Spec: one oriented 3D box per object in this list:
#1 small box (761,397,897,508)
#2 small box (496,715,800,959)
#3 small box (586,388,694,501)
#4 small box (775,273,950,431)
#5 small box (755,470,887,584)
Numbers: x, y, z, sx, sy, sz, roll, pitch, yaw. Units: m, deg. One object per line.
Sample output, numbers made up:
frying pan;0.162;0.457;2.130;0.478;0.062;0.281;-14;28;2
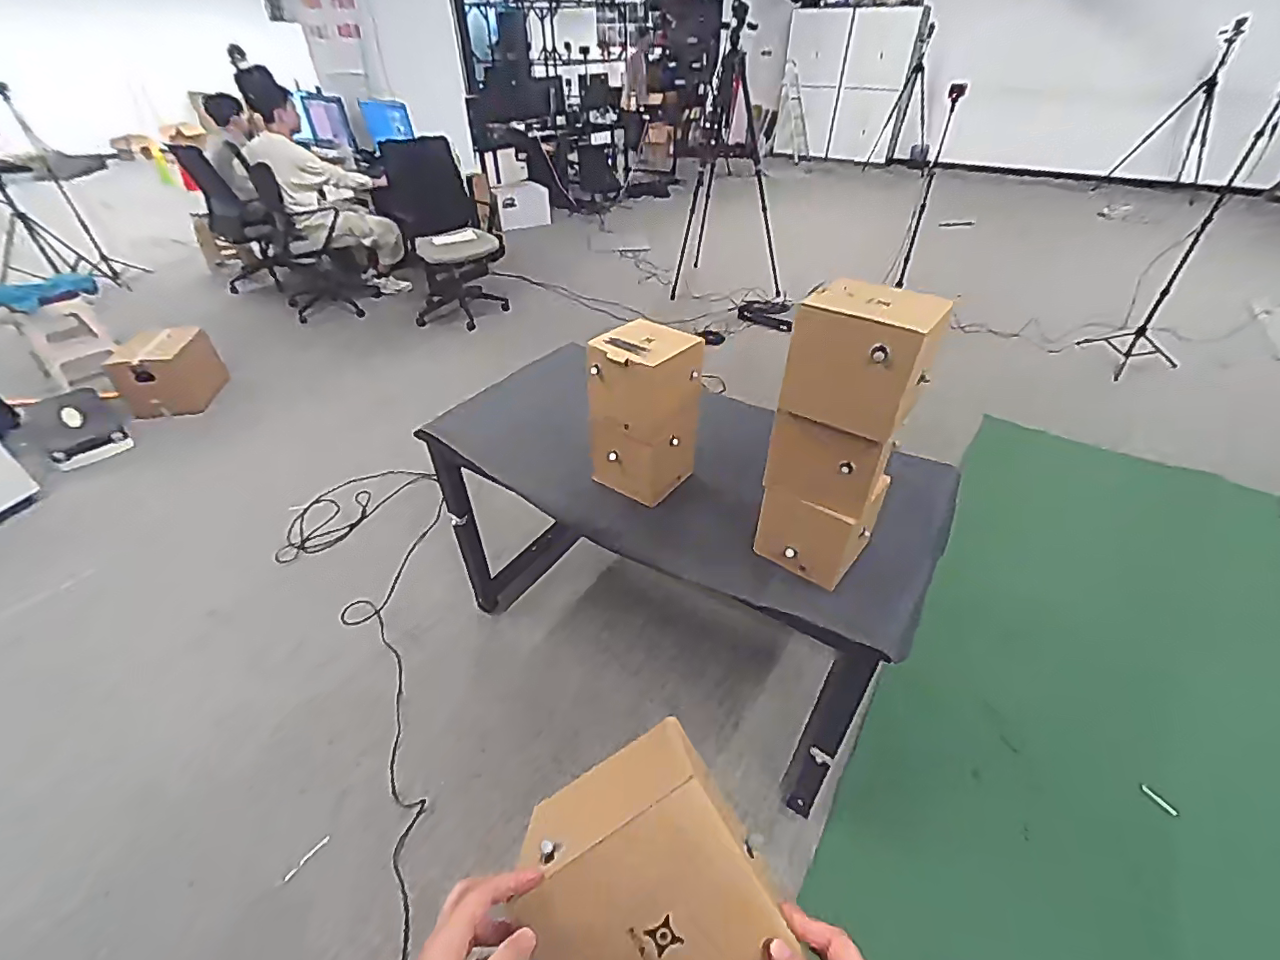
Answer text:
small box;0.325;-0.074;0.927;0.179;0.176;0.168;20;39;26
small box;0.003;0.343;0.480;0.179;0.176;0.168;-32;84;-6
small box;0.000;-0.079;1.203;0.179;0.176;0.168;24;44;28
small box;0.325;-0.191;0.808;0.179;0.176;0.168;24;41;29
small box;0.333;0.060;1.019;0.168;0.176;0.179;27;45;31
